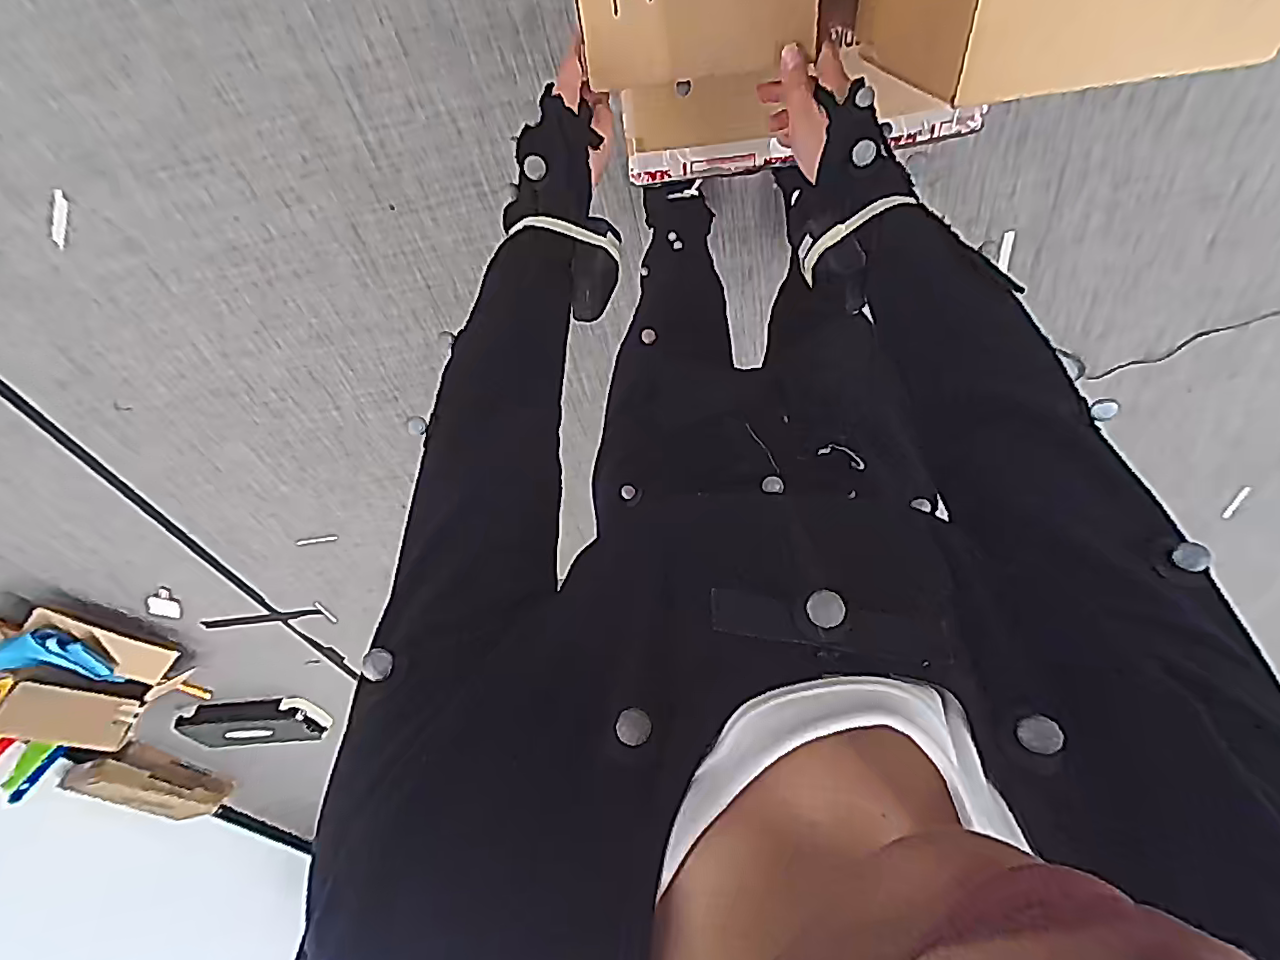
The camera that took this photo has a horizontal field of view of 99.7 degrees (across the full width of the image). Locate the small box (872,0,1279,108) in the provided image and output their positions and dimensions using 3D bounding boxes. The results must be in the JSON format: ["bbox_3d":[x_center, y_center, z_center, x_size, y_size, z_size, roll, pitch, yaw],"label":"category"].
[{"bbox_3d":[0.241,-0.330,0.289,0.168,0.176,0.179,-6,134,5],"label":"small box"}]
